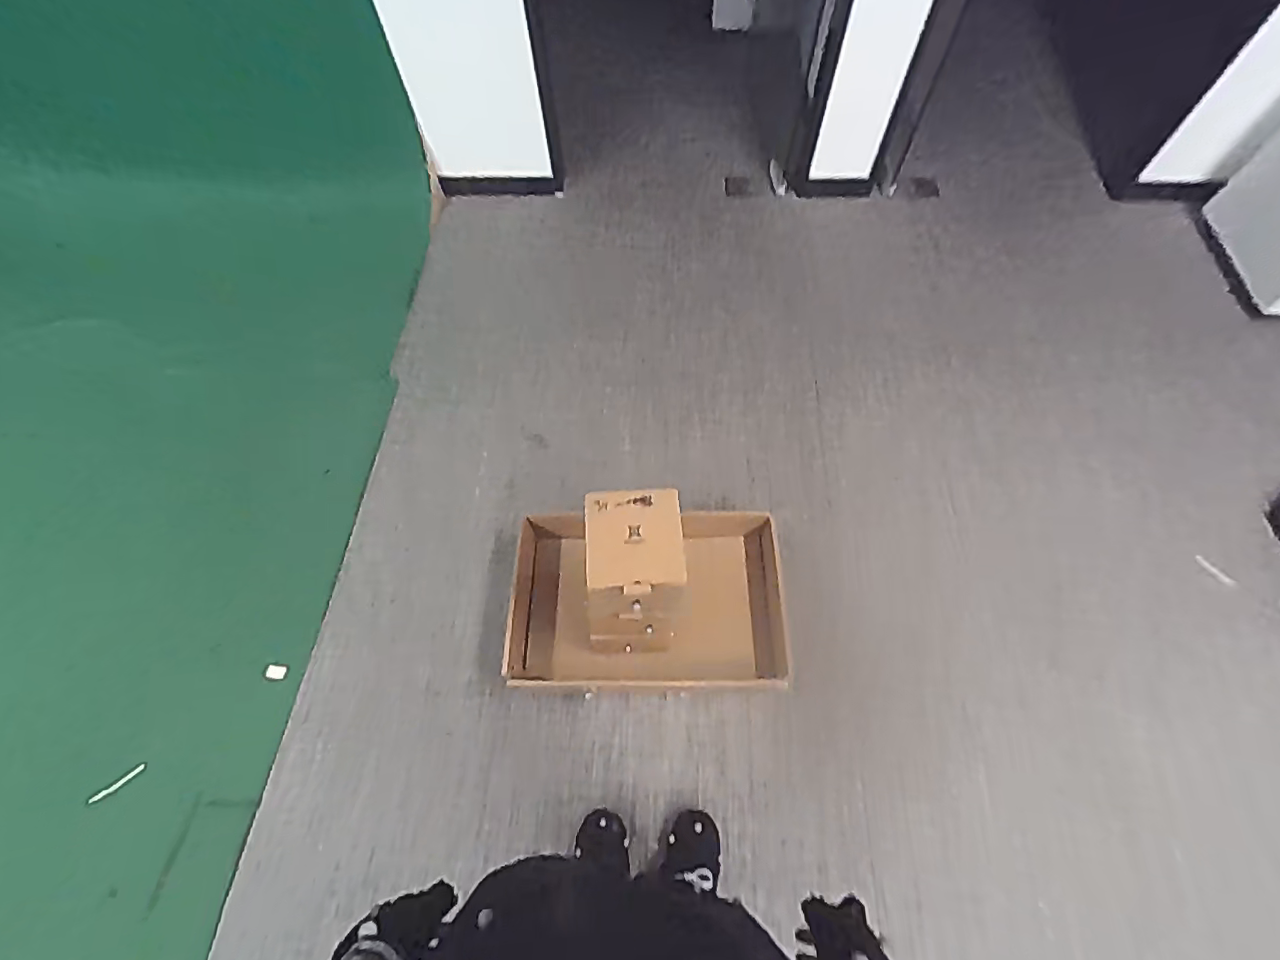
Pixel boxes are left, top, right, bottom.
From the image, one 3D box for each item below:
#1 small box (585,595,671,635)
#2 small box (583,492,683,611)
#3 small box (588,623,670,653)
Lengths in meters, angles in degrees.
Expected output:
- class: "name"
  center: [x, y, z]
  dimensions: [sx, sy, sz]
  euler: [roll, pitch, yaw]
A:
- class: "small box"
  center: [-0.021, 0.218, 1.123]
  dimensions: [0.168, 0.176, 0.179]
  euler: [1, 60, -1]
- class: "small box"
  center: [-0.012, 0.136, 0.982]
  dimensions: [0.168, 0.176, 0.179]
  euler: [-2, 62, -2]
- class: "small box"
  center: [-0.023, 0.302, 1.260]
  dimensions: [0.179, 0.176, 0.168]
  euler: [-2, 61, 1]
